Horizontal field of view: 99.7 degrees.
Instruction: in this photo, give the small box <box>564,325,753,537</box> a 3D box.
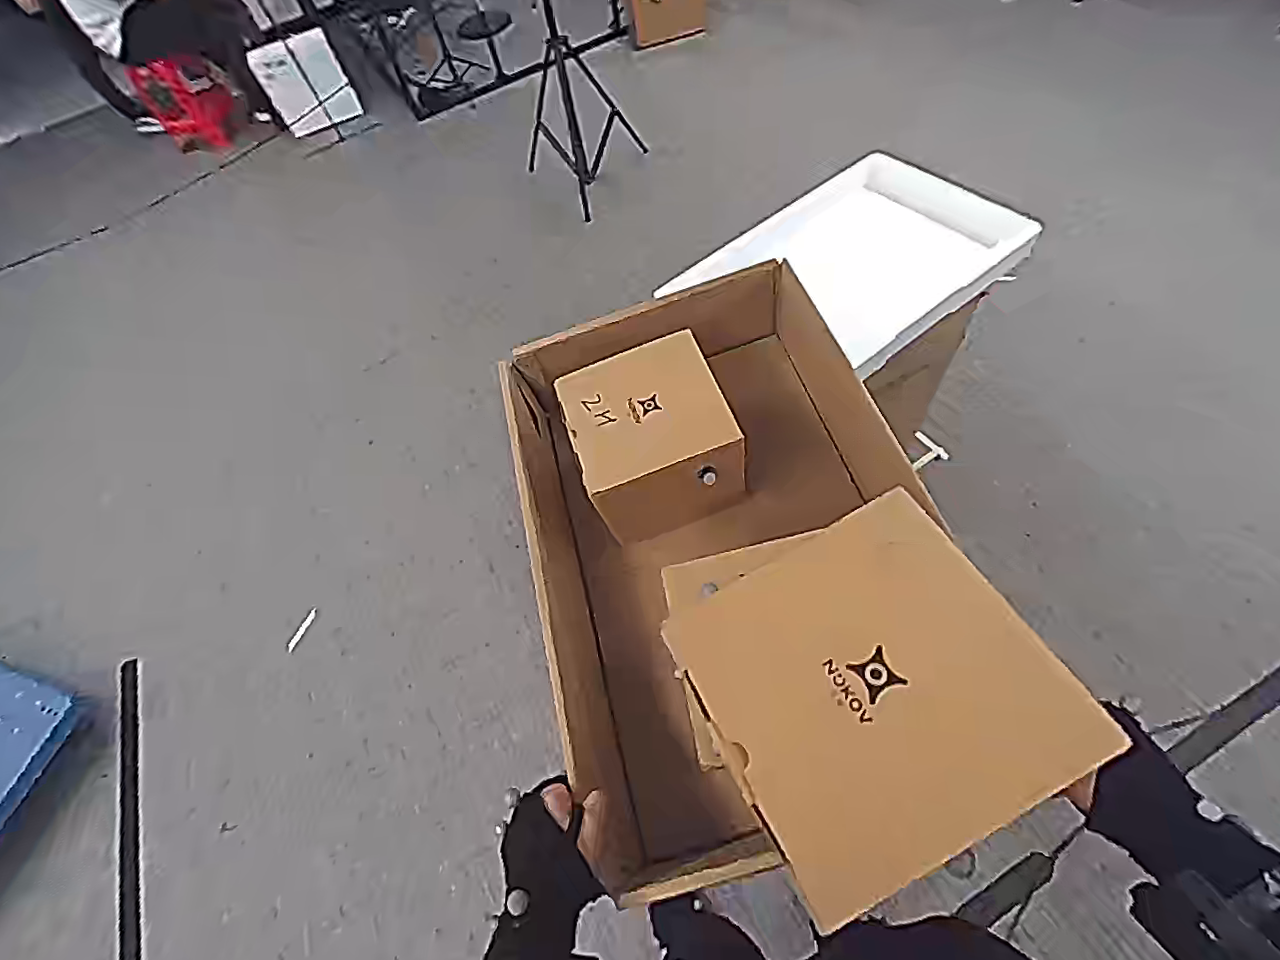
[{"bbox_3d":[0.027,-0.052,0.669,0.179,0.176,0.168,-20,61,1],"label":"small box"}]
